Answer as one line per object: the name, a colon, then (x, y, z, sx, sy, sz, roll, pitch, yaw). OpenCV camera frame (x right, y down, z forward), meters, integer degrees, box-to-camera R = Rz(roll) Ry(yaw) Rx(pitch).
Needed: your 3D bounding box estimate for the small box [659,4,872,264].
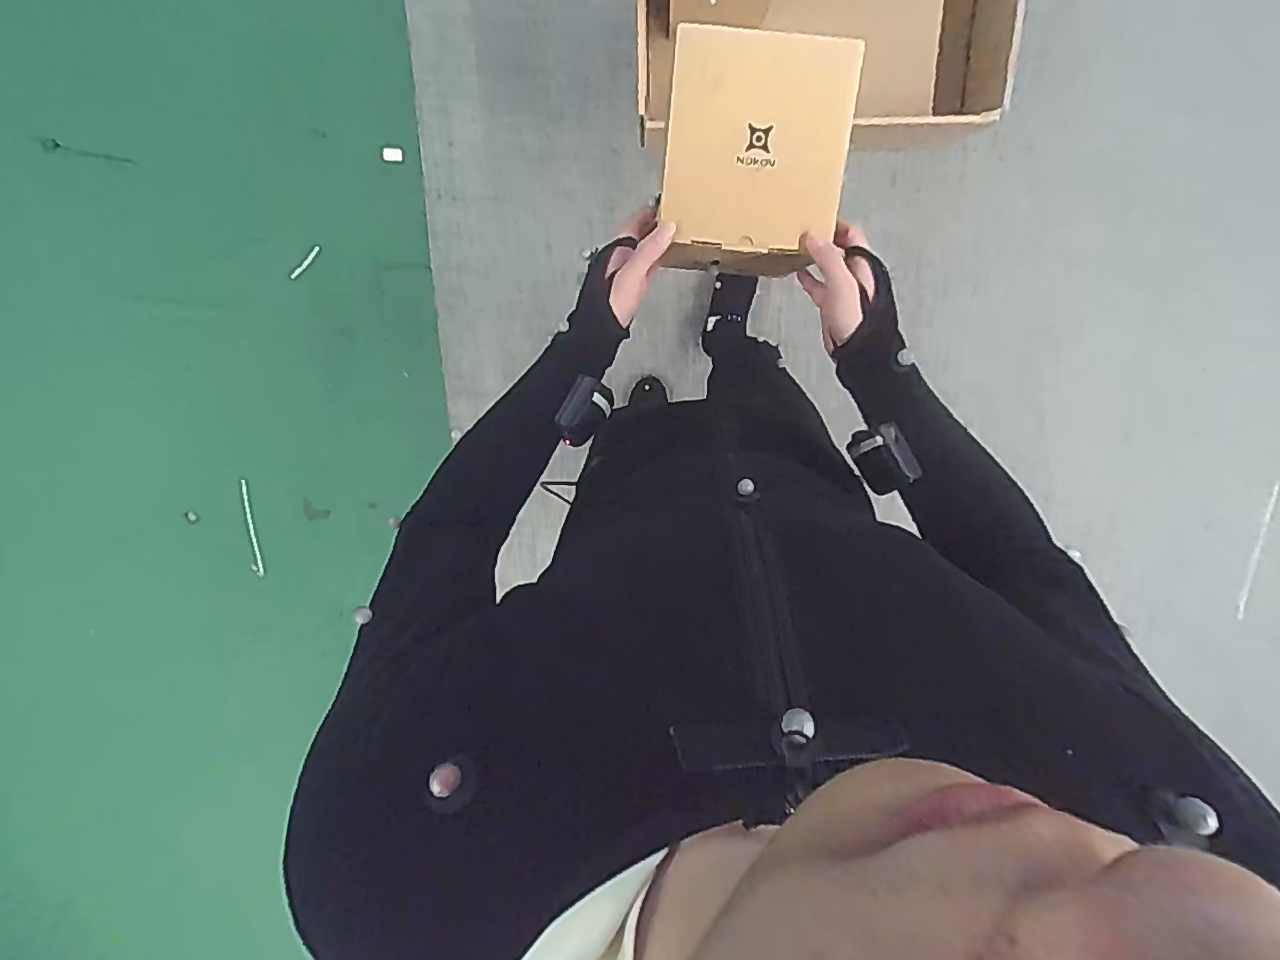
small box: (0.110, -0.333, 0.558, 0.168, 0.176, 0.179, 5, 106, -2)

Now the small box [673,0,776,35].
small box: (0.141, -0.865, 0.875, 0.168, 0.176, 0.179, 1, 106, 0)
